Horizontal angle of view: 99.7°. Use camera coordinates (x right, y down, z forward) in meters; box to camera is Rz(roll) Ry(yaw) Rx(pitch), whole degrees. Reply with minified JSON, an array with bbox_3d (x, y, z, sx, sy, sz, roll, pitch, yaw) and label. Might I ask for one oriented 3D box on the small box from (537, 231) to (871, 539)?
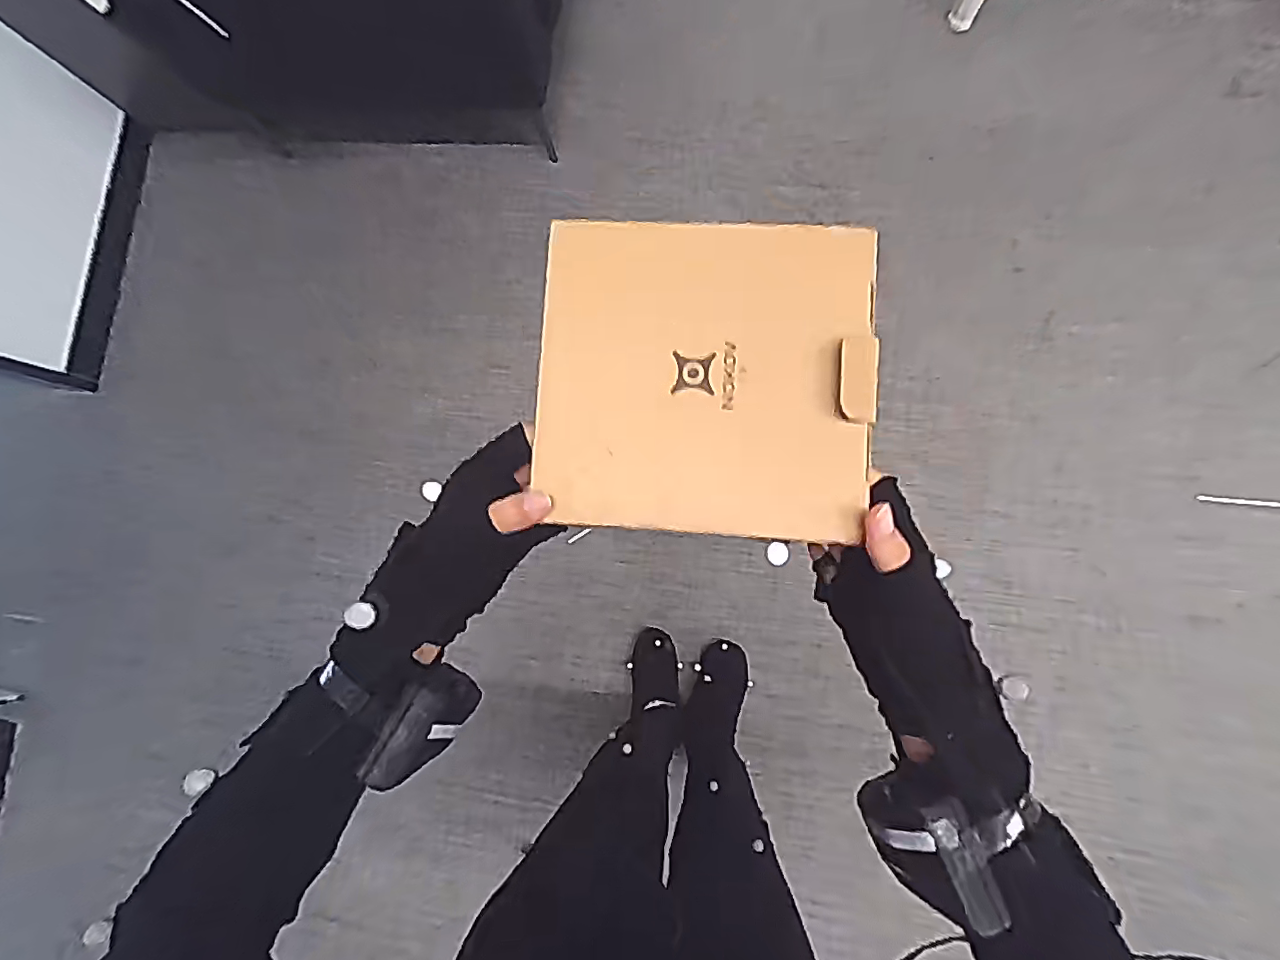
[{"bbox_3d":[0.040,-0.047,0.374,0.179,0.176,0.168,4,85,3],"label":"small box"}]
